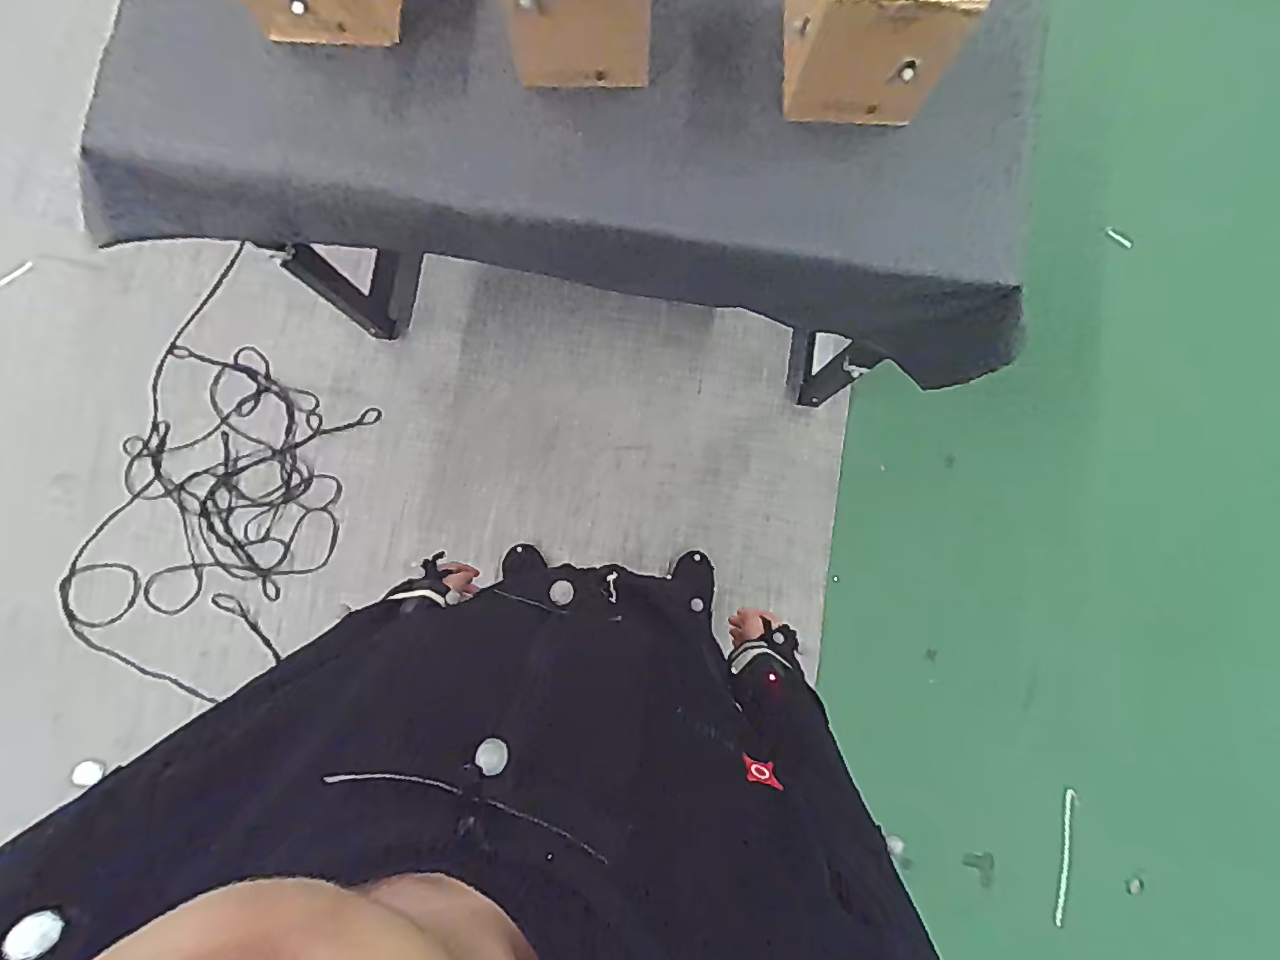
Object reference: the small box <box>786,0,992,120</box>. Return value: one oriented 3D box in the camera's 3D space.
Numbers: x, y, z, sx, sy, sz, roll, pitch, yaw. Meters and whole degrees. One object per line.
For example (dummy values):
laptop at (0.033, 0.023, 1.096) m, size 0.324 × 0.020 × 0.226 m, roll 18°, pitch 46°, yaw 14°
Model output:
small box at (0.276, -0.558, 0.628) m, size 0.168 × 0.176 × 0.179 m, roll 2°, pitch 83°, yaw -2°

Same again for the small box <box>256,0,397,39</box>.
small box at (-0.389, -0.664, 0.620) m, size 0.168 × 0.176 × 0.179 m, roll 2°, pitch 85°, yaw -2°
